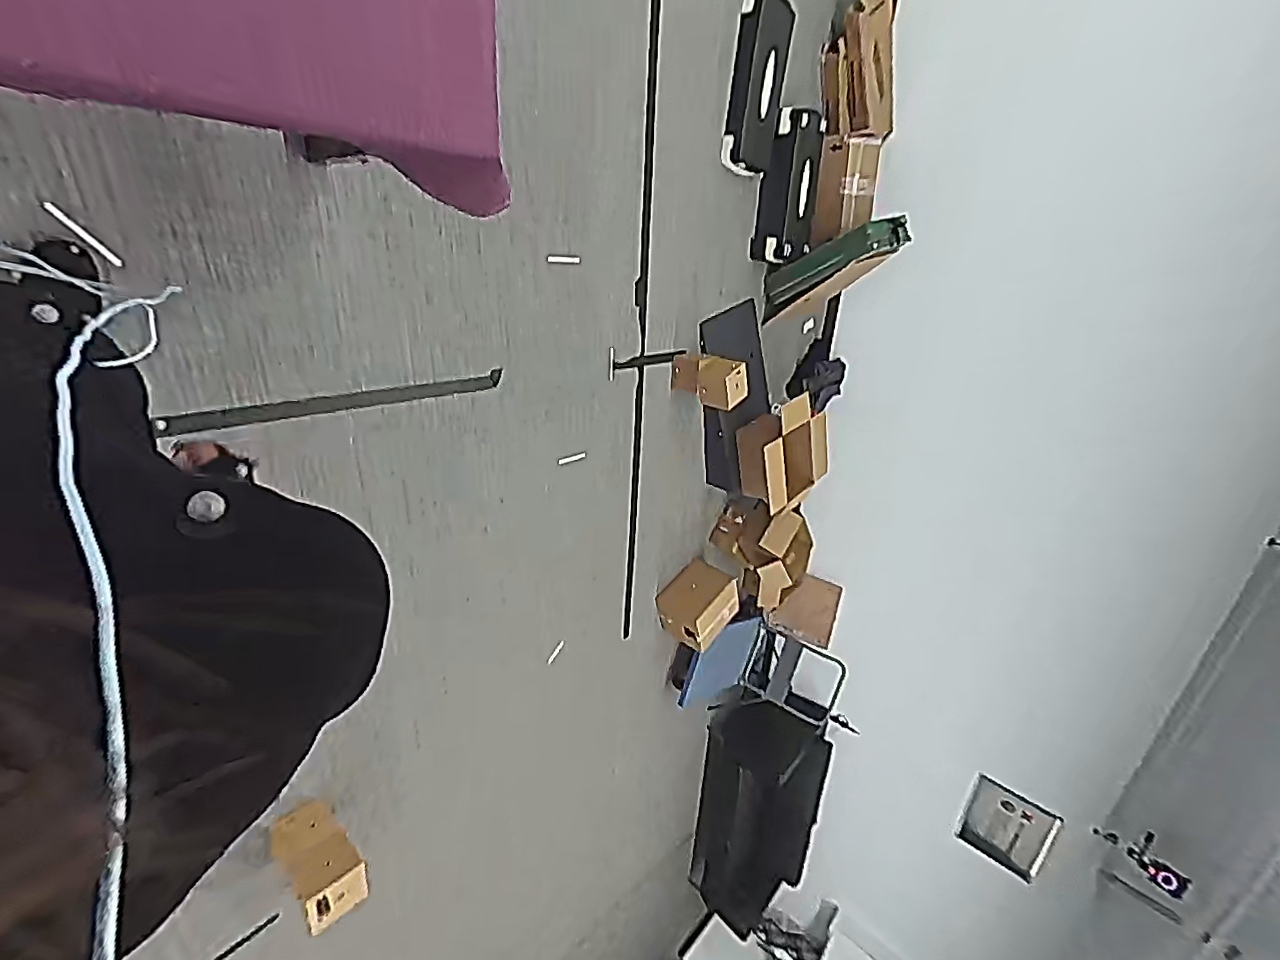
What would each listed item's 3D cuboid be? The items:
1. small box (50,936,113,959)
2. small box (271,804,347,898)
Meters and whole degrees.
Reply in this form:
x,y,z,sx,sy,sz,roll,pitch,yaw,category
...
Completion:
x,y,z,sx,sy,sz,roll,pitch,yaw,category
-1.512,1.374,1.434,0.168,0.176,0.179,-17,121,-45,small box
-1.133,1.255,1.849,0.168,0.176,0.179,-20,124,-45,small box
